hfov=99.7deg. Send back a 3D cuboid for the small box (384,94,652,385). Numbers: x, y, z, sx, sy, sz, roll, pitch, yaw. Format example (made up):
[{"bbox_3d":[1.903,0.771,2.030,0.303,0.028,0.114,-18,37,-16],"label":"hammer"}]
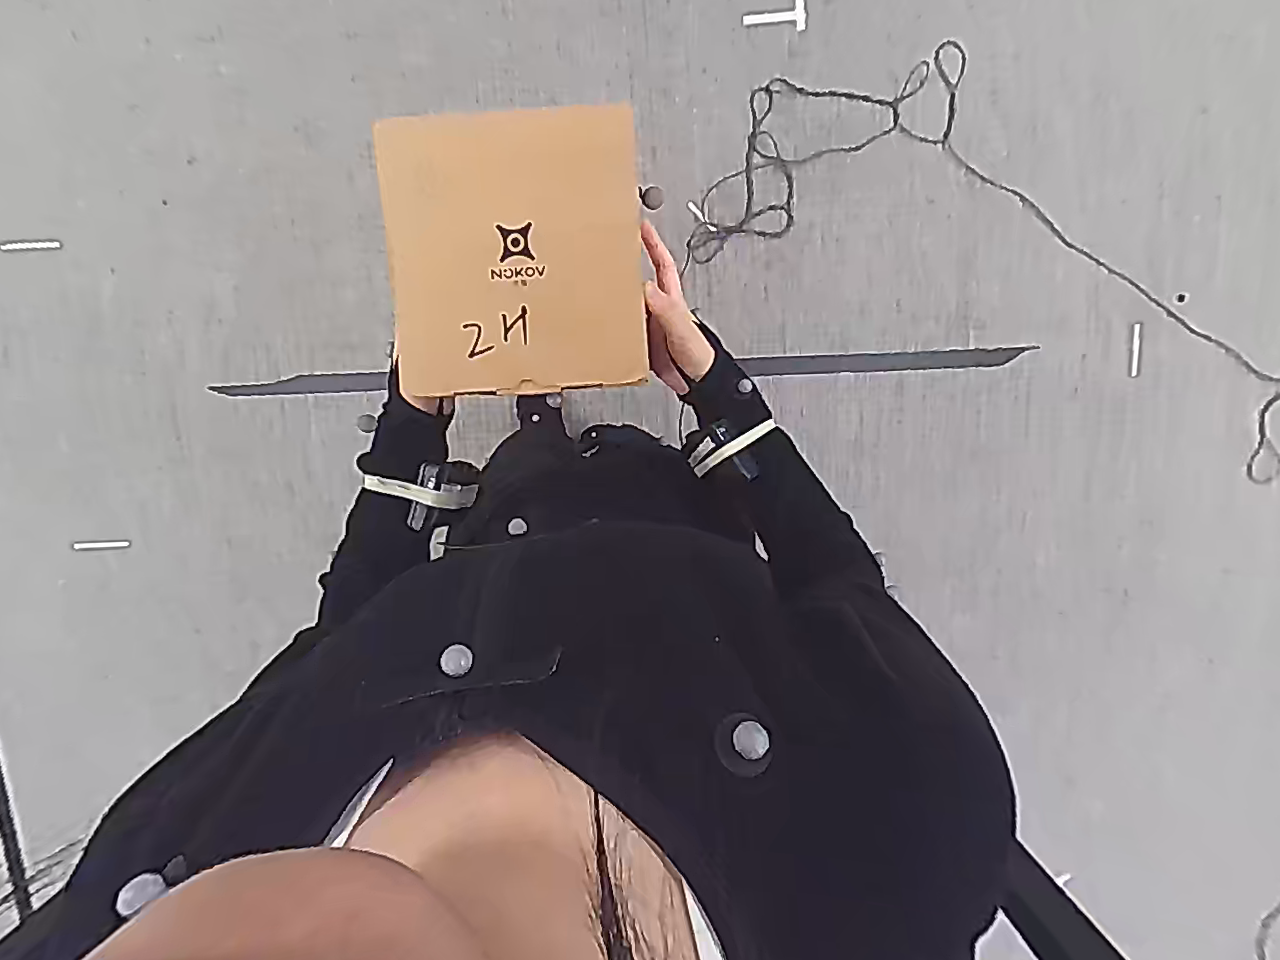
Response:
[{"bbox_3d":[-0.076,-0.167,0.431,0.168,0.176,0.179,-2,101,2],"label":"small box"}]
